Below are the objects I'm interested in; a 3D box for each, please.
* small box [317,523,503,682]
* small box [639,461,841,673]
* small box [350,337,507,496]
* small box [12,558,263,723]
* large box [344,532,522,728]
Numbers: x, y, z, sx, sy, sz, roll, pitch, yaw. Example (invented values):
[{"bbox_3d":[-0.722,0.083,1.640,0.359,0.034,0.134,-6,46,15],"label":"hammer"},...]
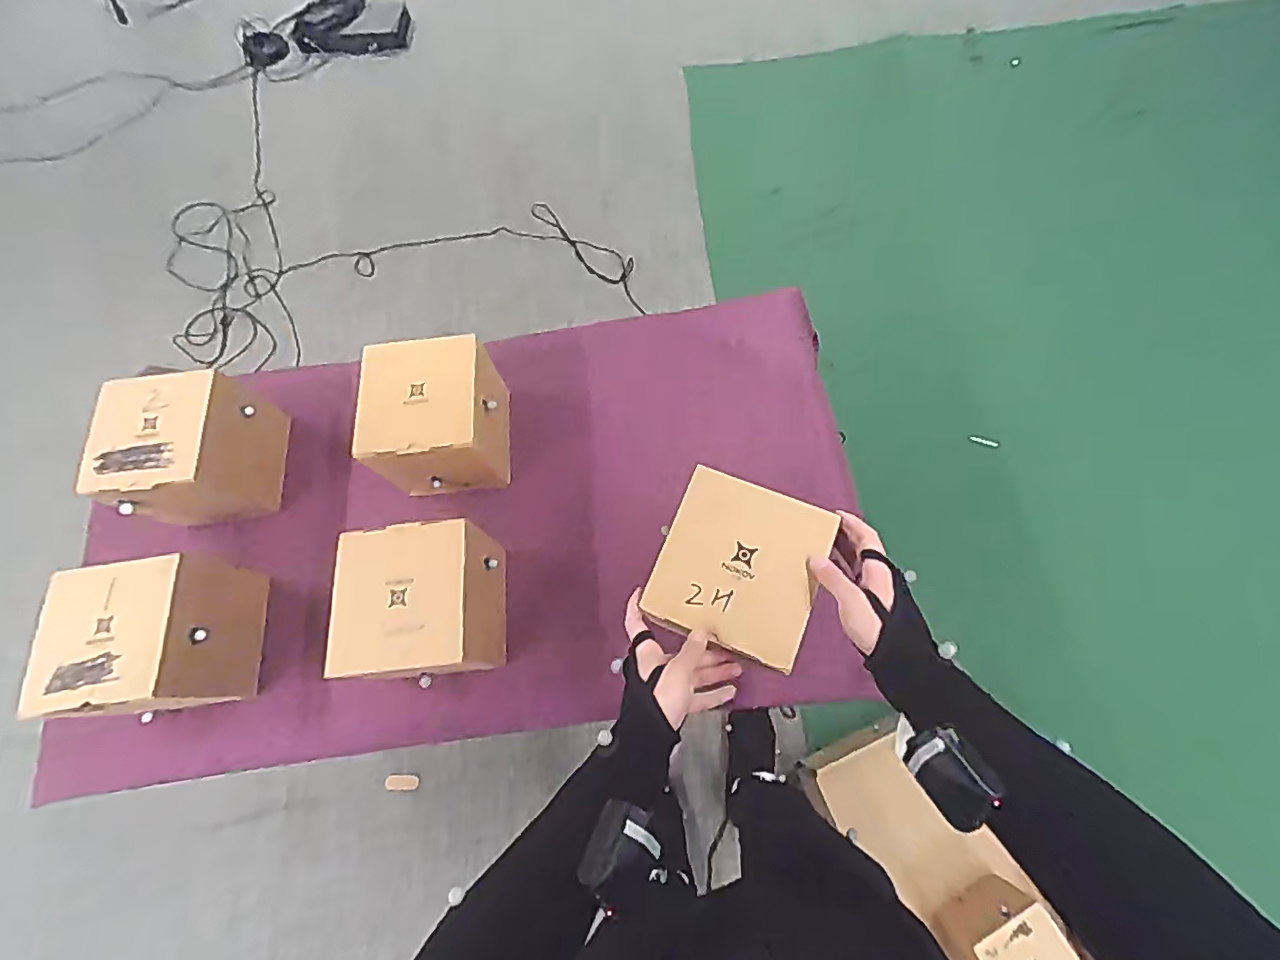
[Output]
[{"bbox_3d":[-0.287,0.169,0.717,0.168,0.176,0.179,-6,69,3],"label":"small box"},{"bbox_3d":[0.111,0.106,0.635,0.168,0.176,0.179,21,76,12],"label":"small box"},{"bbox_3d":[-0.303,-0.088,0.813,0.168,0.176,0.179,-5,71,2],"label":"small box"},{"bbox_3d":[-0.647,0.216,0.724,0.168,0.176,0.179,-8,68,1],"label":"small box"},{"bbox_3d":[-0.496,0.381,1.361,0.320,0.320,0.408,-7,69,1],"label":"large box"}]
